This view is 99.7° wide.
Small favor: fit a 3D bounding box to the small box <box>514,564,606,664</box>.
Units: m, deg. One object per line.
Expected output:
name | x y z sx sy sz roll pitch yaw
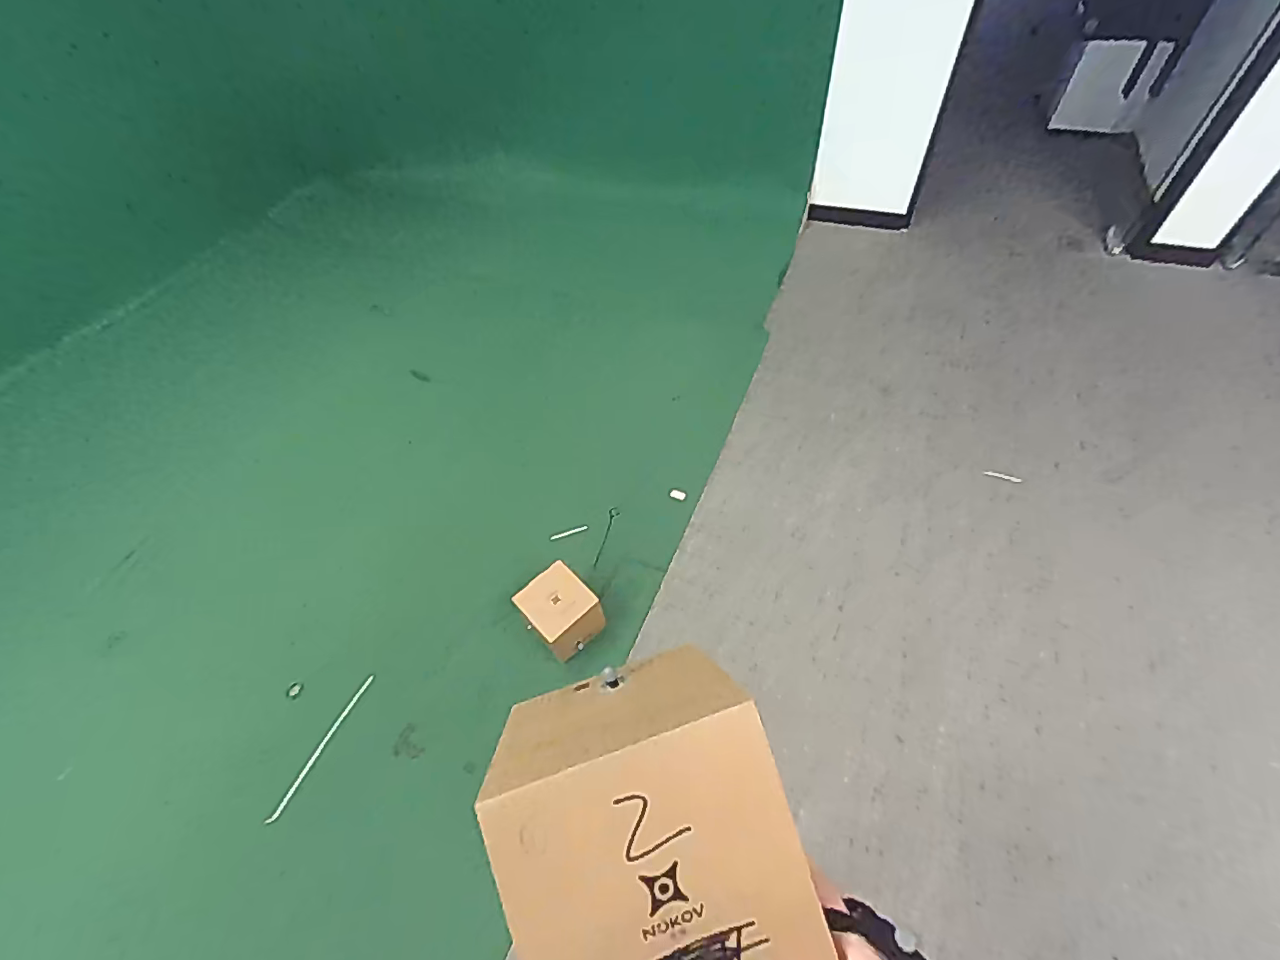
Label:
small box | -0.214 0.371 1.484 0.168 0.176 0.179 -38 58 -22
